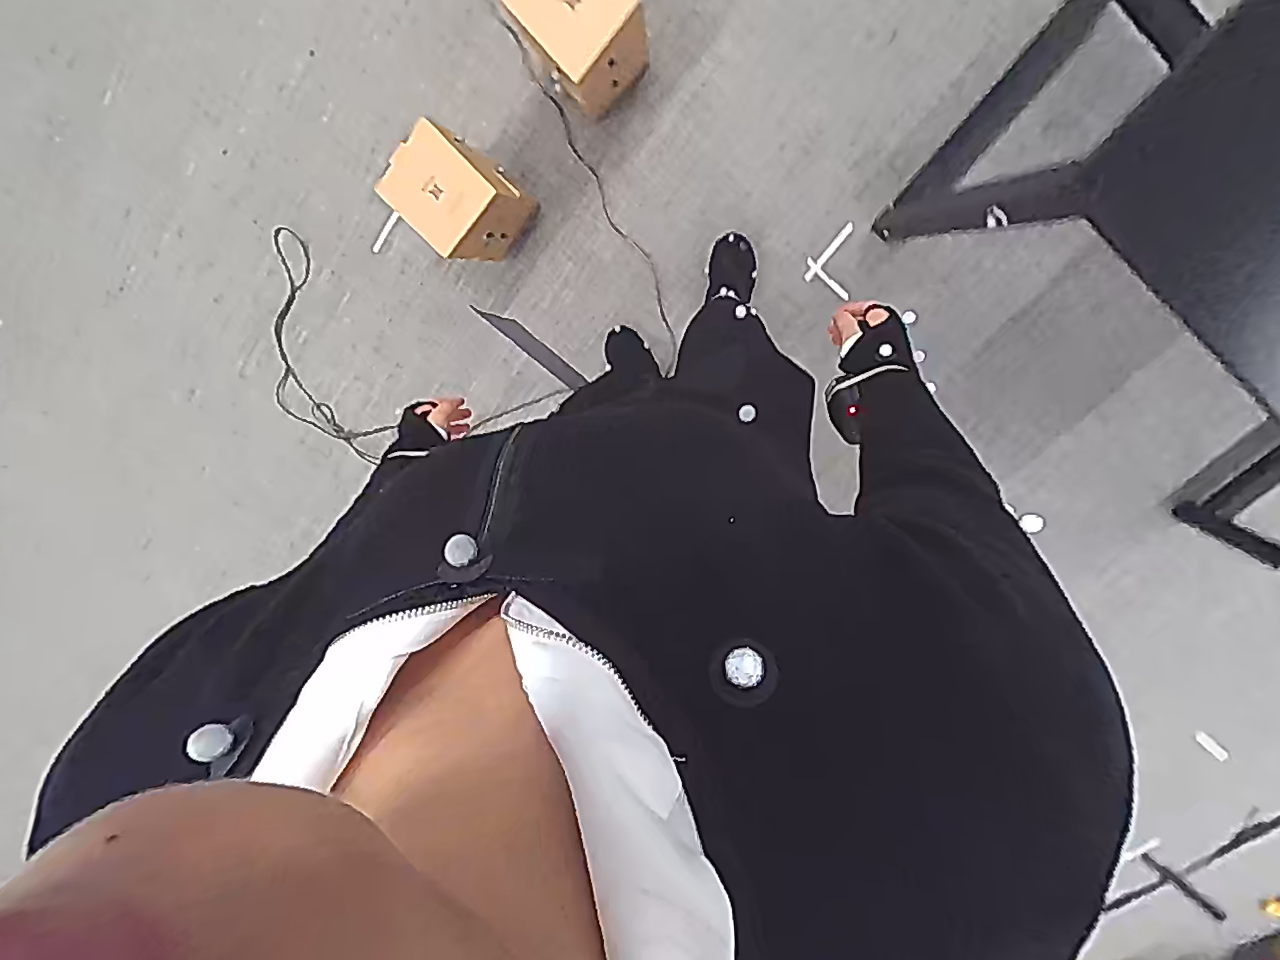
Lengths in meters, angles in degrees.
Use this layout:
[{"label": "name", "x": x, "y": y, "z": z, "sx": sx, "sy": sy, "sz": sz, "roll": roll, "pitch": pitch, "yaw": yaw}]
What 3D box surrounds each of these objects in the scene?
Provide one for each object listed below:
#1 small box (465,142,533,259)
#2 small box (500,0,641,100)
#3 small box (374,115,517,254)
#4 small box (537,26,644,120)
[{"label": "small box", "x": -0.367, "y": -0.627, "z": 1.229, "sx": 0.168, "sy": 0.176, "sz": 0.179, "roll": 39, "pitch": 110, "yaw": -11}, {"label": "small box", "x": -0.113, "y": -0.817, "z": 0.956, "sx": 0.179, "sy": 0.176, "sz": 0.168, "roll": 43, "pitch": 107, "yaw": -12}, {"label": "small box", "x": -0.377, "y": -0.571, "z": 1.075, "sx": 0.179, "sy": 0.176, "sz": 0.168, "roll": 42, "pitch": 109, "yaw": -13}, {"label": "small box", "x": -0.107, "y": -0.887, "z": 1.106, "sx": 0.179, "sy": 0.176, "sz": 0.168, "roll": -40, "pitch": 103, "yaw": 17}]
